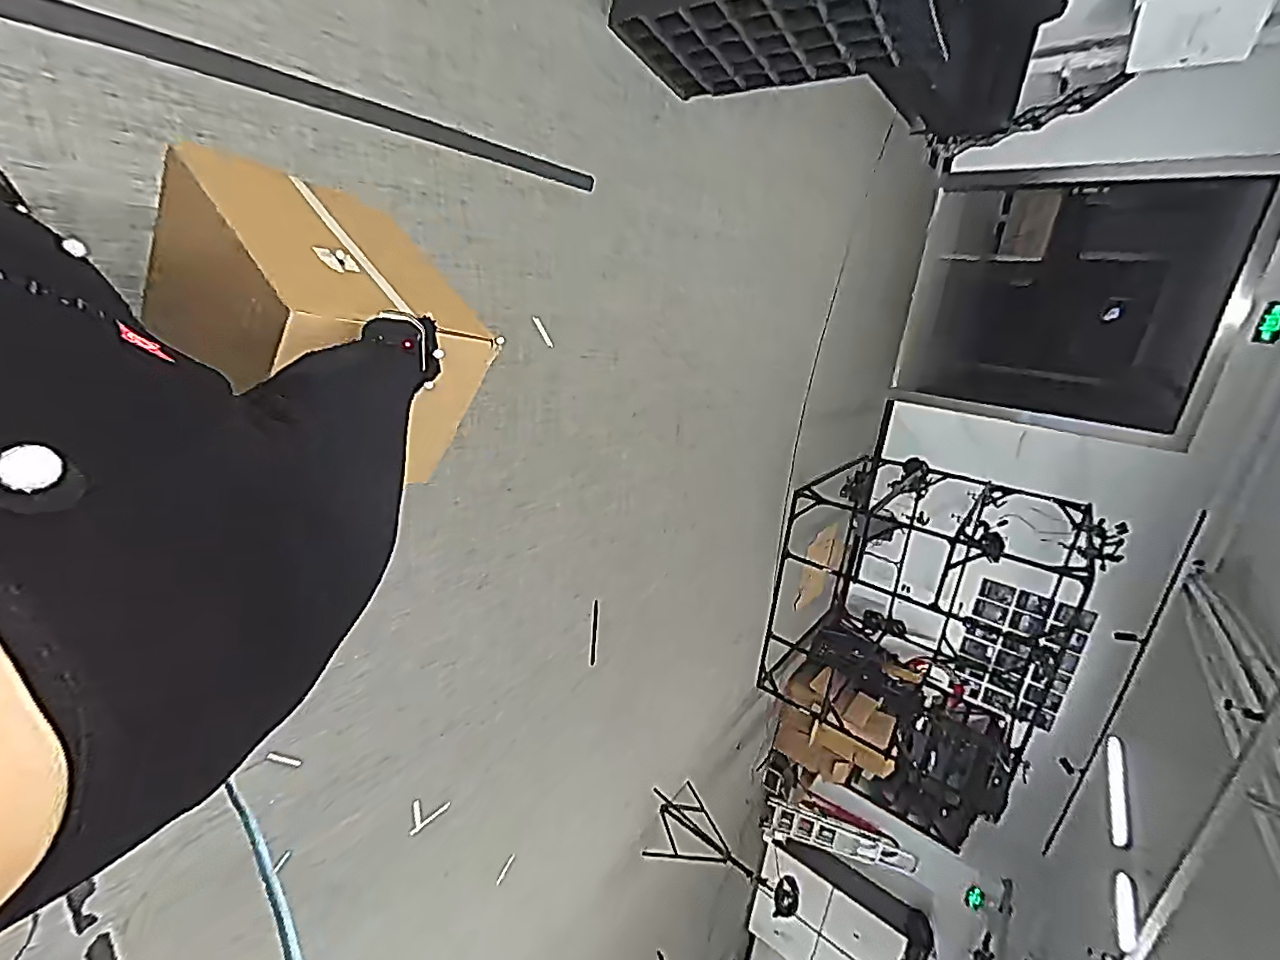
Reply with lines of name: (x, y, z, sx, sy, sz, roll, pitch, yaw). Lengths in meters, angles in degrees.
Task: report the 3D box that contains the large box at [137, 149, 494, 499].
large box: (-0.527, -0.228, 0.875, 0.320, 0.408, 0.320, -52, 159, 26)
